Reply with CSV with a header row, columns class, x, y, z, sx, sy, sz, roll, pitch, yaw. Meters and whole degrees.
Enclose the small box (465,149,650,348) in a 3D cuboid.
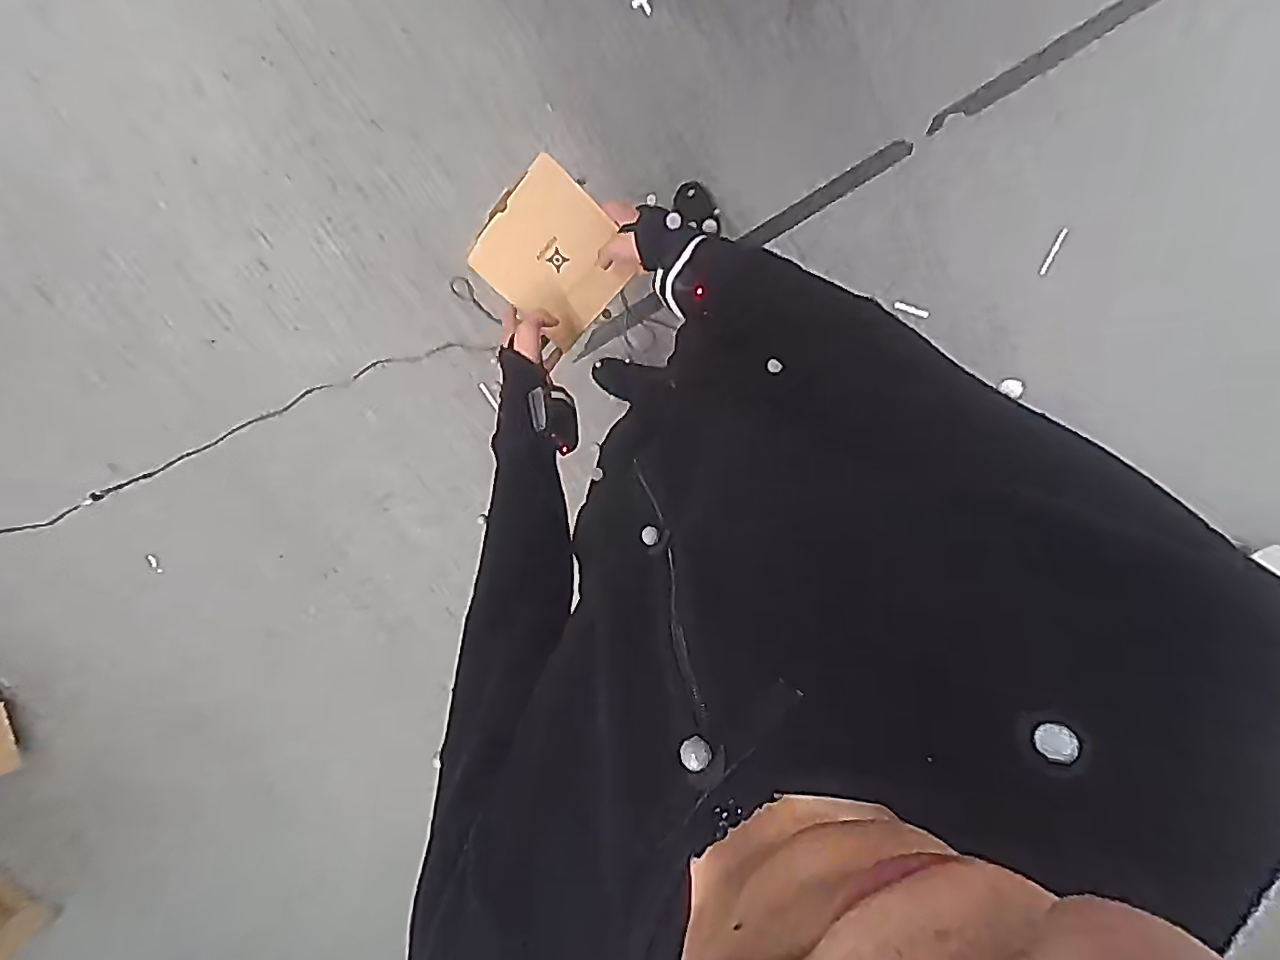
class,x,y,z,sx,sy,sz,roll,pitch,yaw
small box,-0.105,-0.311,0.752,0.179,0.176,0.168,42,106,-16
